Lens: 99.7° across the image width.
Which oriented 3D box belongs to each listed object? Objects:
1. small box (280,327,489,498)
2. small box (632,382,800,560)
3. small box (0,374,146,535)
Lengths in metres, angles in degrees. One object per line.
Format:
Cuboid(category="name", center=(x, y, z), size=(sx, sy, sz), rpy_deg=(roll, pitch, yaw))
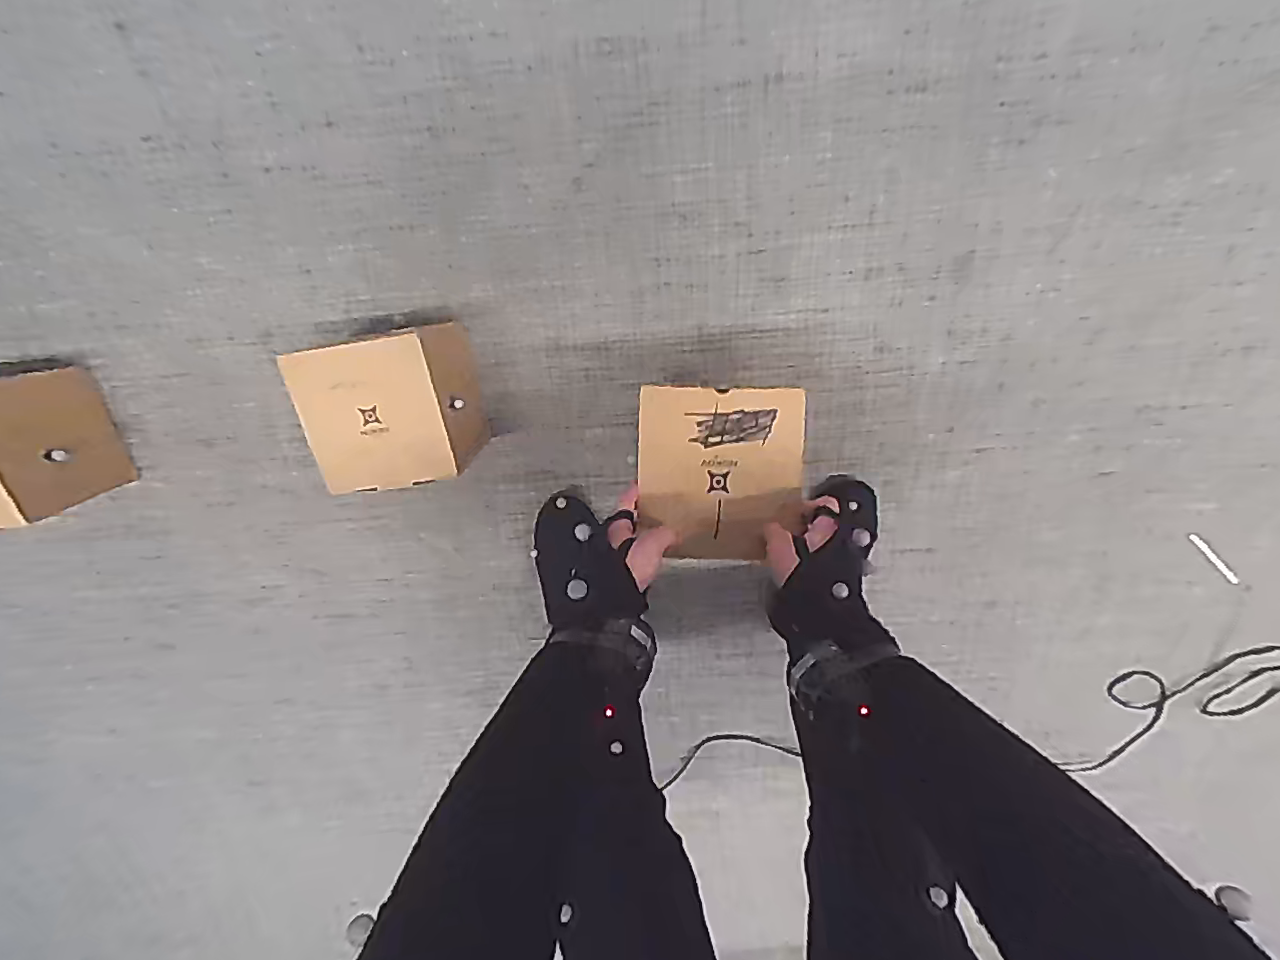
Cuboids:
Cuboid(category="small box", center=(-0.315, -0.096, 0.711), size=(0.168, 0.176, 0.179), rpy_deg=(-9, 109, 3))
Cuboid(category="small box", center=(0.078, -0.011, 0.618), size=(0.168, 0.176, 0.179), rpy_deg=(1, 92, 3))
Cuboid(category="small box", center=(-0.852, -0.036, 0.744), size=(0.168, 0.176, 0.179), rpy_deg=(-7, 111, 3))
